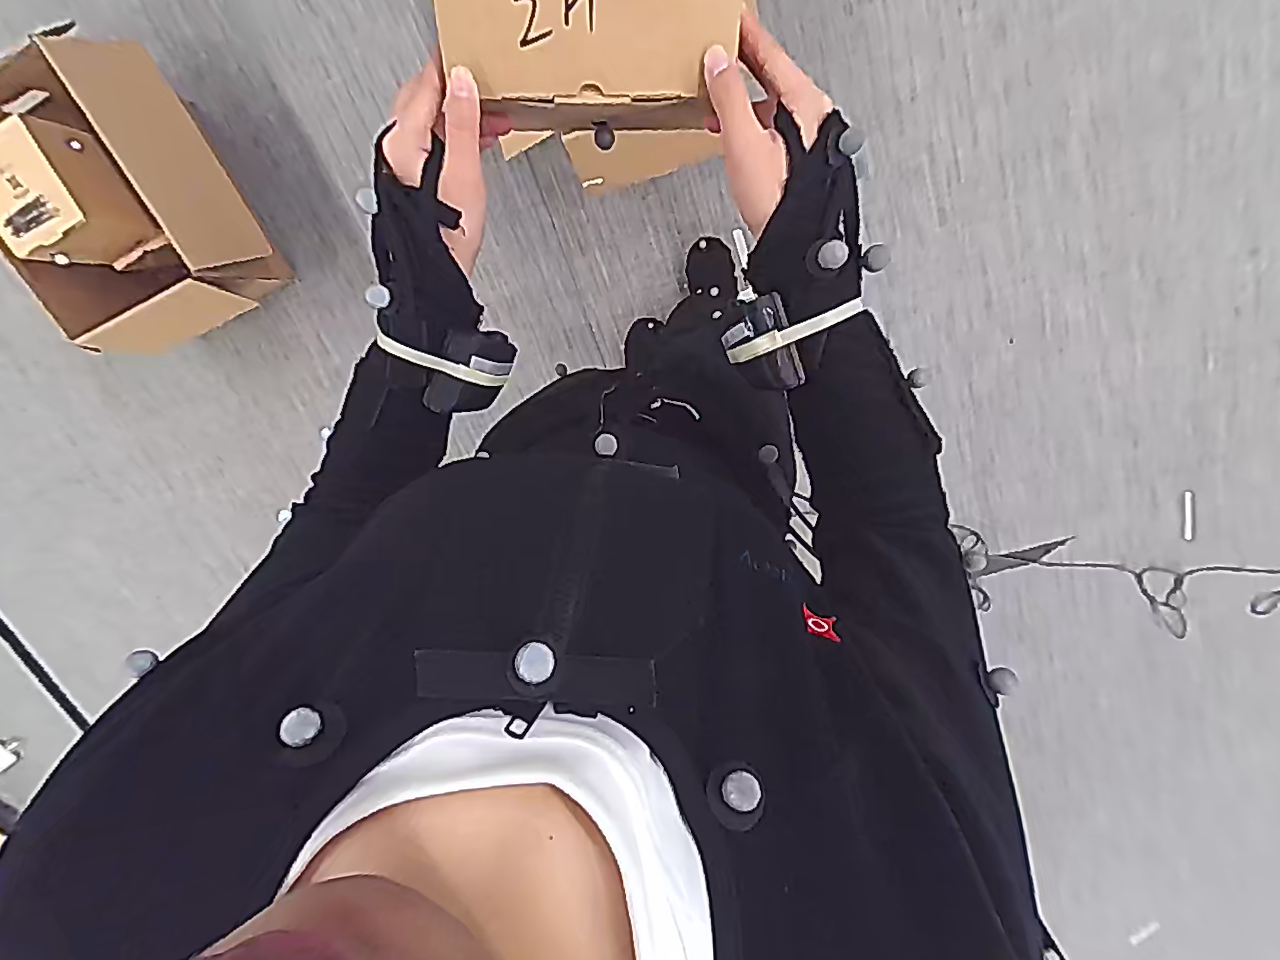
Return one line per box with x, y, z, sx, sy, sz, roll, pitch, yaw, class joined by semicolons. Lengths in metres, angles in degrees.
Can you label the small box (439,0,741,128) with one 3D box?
-0.027;-0.337;0.341;0.168;0.176;0.179;0;118;0;small box
